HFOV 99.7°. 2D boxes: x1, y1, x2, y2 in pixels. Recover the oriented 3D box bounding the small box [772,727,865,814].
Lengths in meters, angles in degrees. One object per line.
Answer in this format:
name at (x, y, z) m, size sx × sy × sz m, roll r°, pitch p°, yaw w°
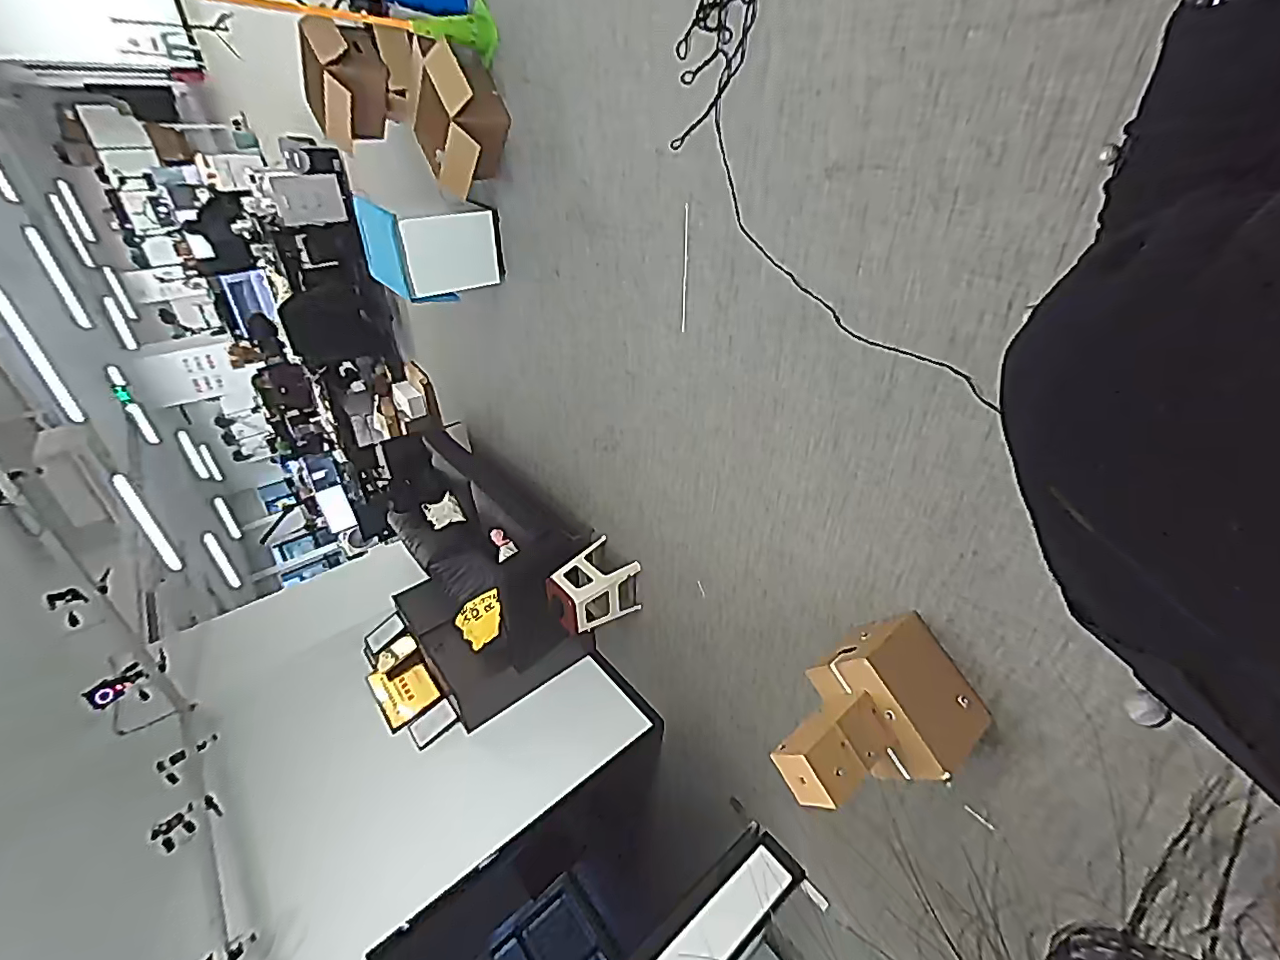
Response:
small box at (0.541, 0.862, 1.620) m, size 0.168 × 0.176 × 0.179 m, roll 58°, pitch 149°, yaw 12°
